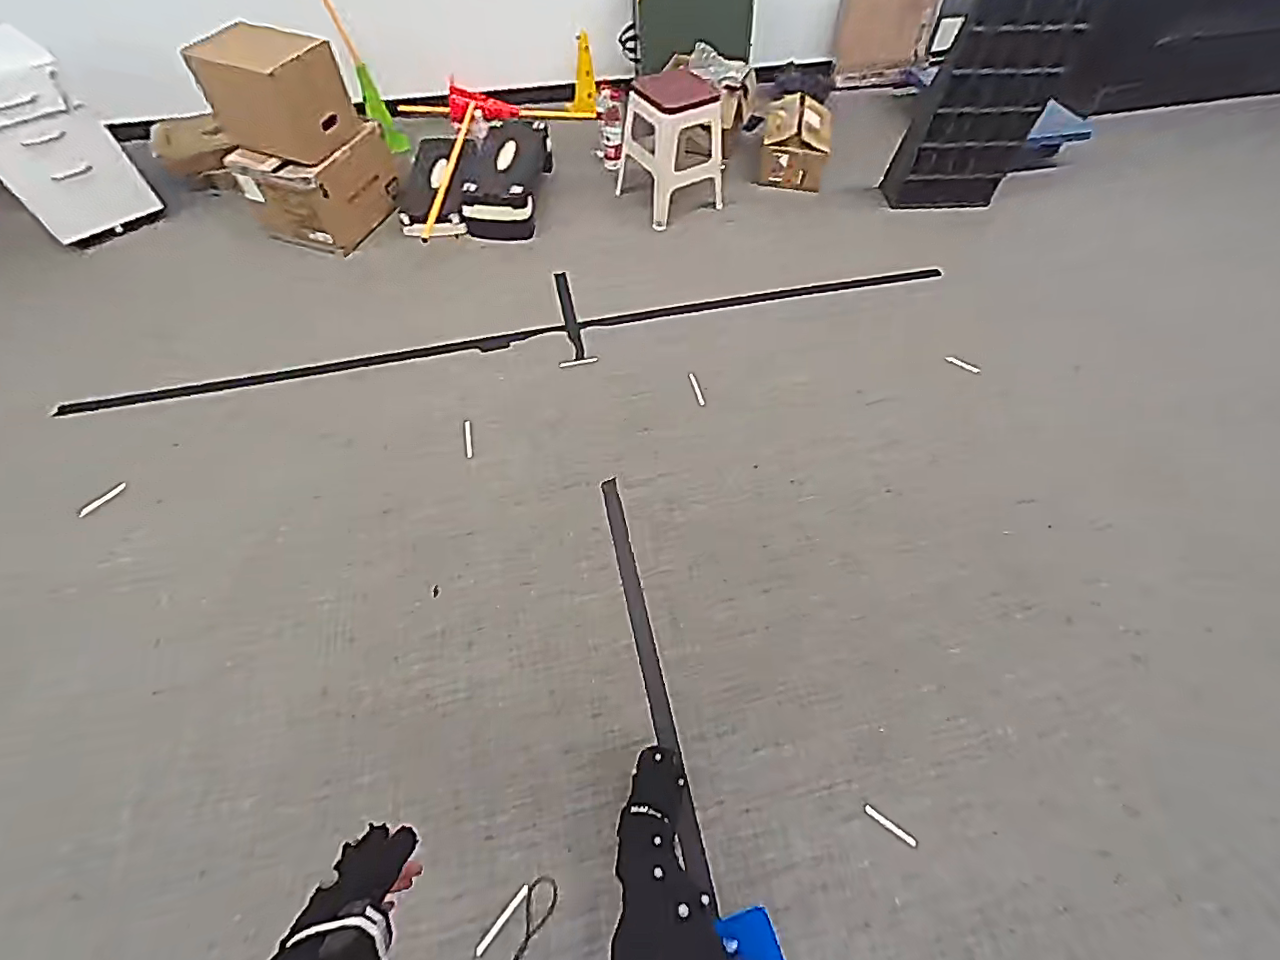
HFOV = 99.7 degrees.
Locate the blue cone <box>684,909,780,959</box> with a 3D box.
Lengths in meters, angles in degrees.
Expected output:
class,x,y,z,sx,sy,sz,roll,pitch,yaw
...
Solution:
class,x,y,z,sx,sy,sz,roll,pitch,yaw
blue cone,0.200,0.892,0.923,0.192,0.380,0.193,-13,58,-11
